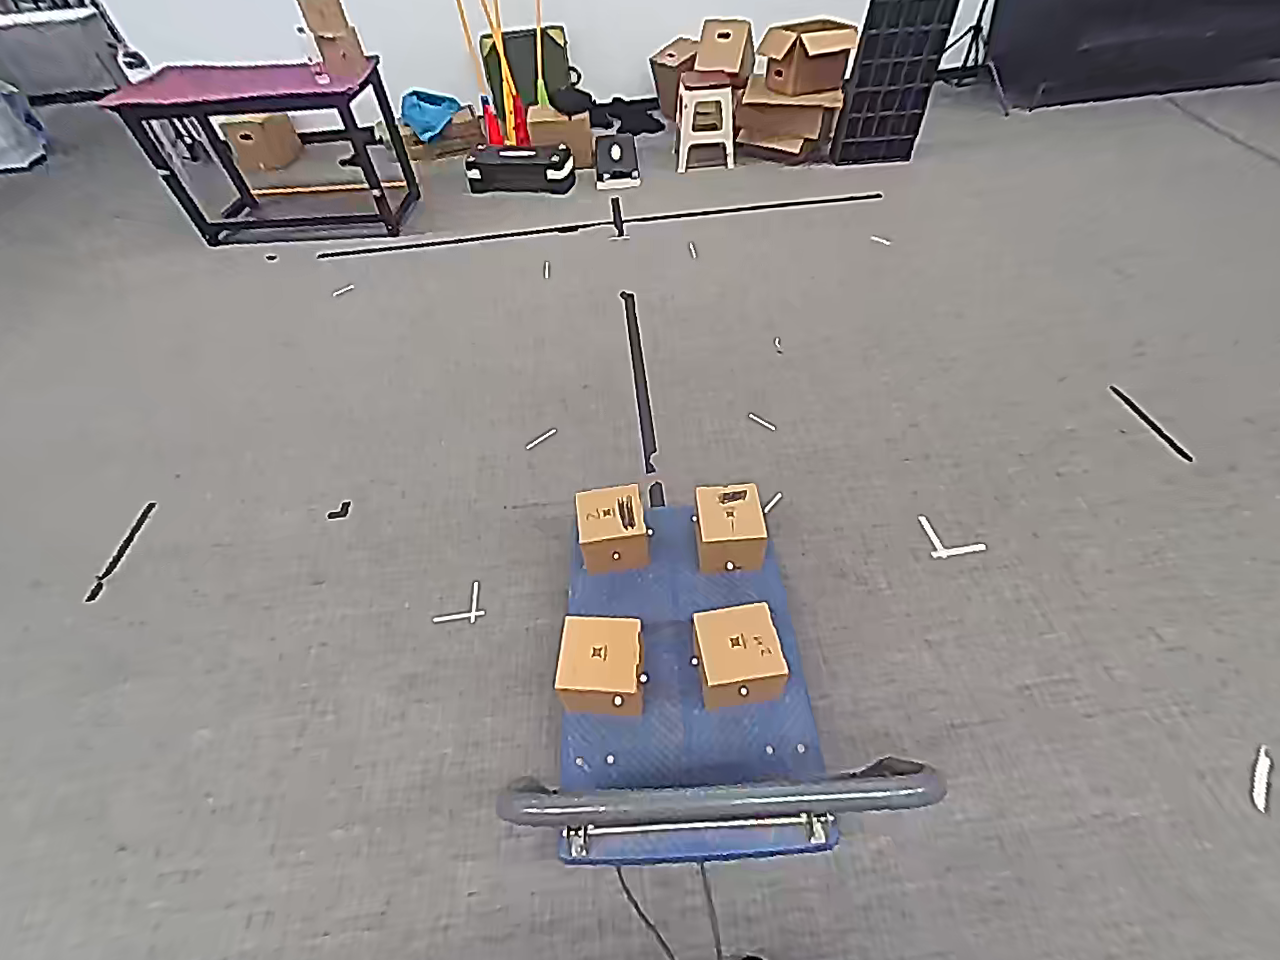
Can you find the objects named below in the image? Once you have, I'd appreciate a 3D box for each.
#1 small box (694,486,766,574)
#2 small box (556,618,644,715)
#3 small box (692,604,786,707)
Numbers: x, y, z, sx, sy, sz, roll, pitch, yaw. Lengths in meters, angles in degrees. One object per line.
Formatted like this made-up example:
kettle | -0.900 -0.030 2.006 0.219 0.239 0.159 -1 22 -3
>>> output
small box | 0.238 0.138 1.472 0.168 0.176 0.179 -4 51 1
small box | -0.085 0.435 1.254 0.179 0.176 0.168 1 50 4
small box | 0.220 0.410 1.248 0.179 0.176 0.168 -8 51 -2
